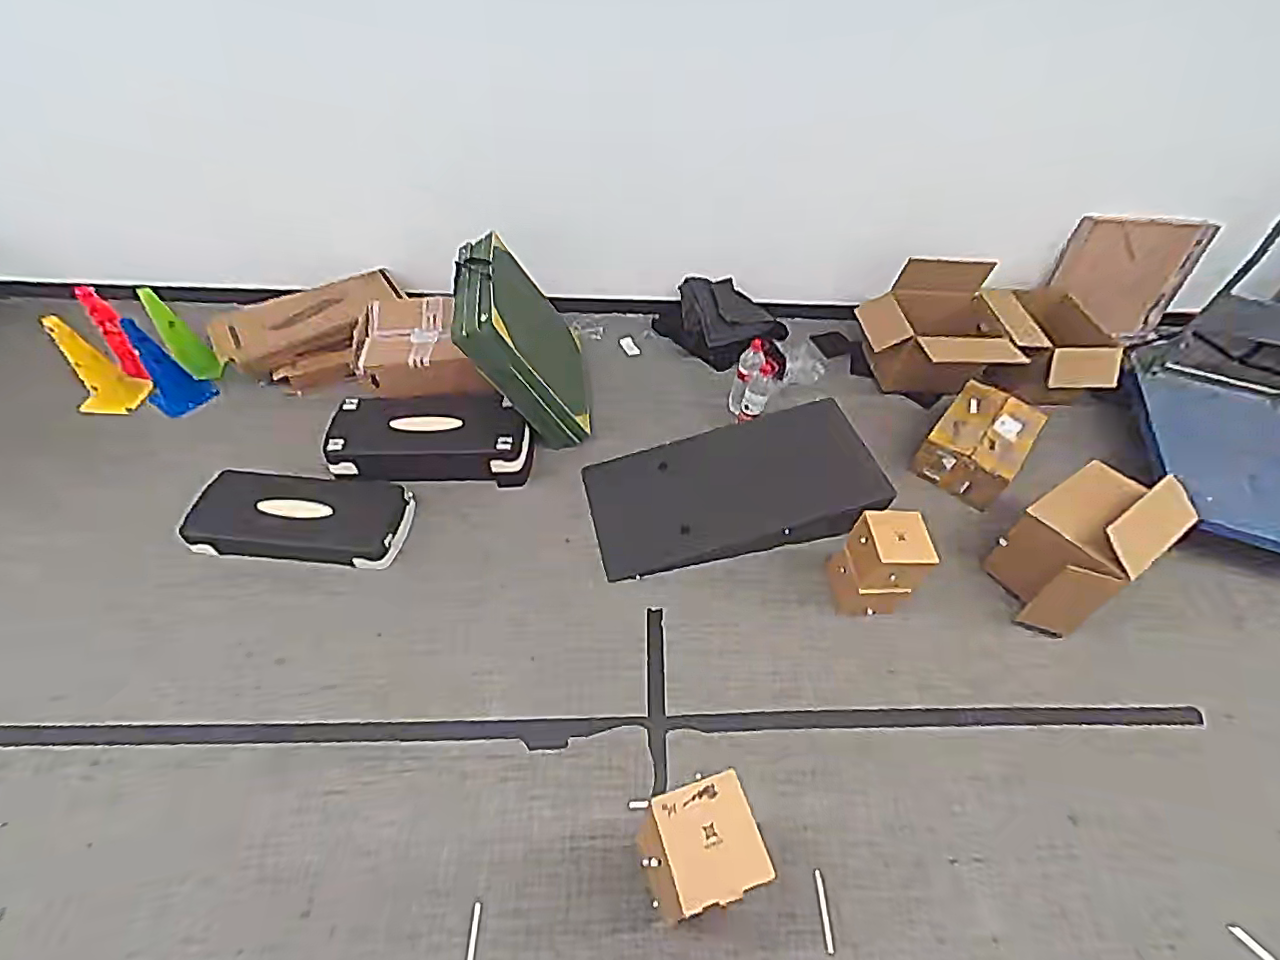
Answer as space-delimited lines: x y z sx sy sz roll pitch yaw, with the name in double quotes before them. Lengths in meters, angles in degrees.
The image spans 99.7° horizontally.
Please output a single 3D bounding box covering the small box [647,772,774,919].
"small box" 0.118 0.666 0.989 0.168 0.176 0.179 -12 54 -14
